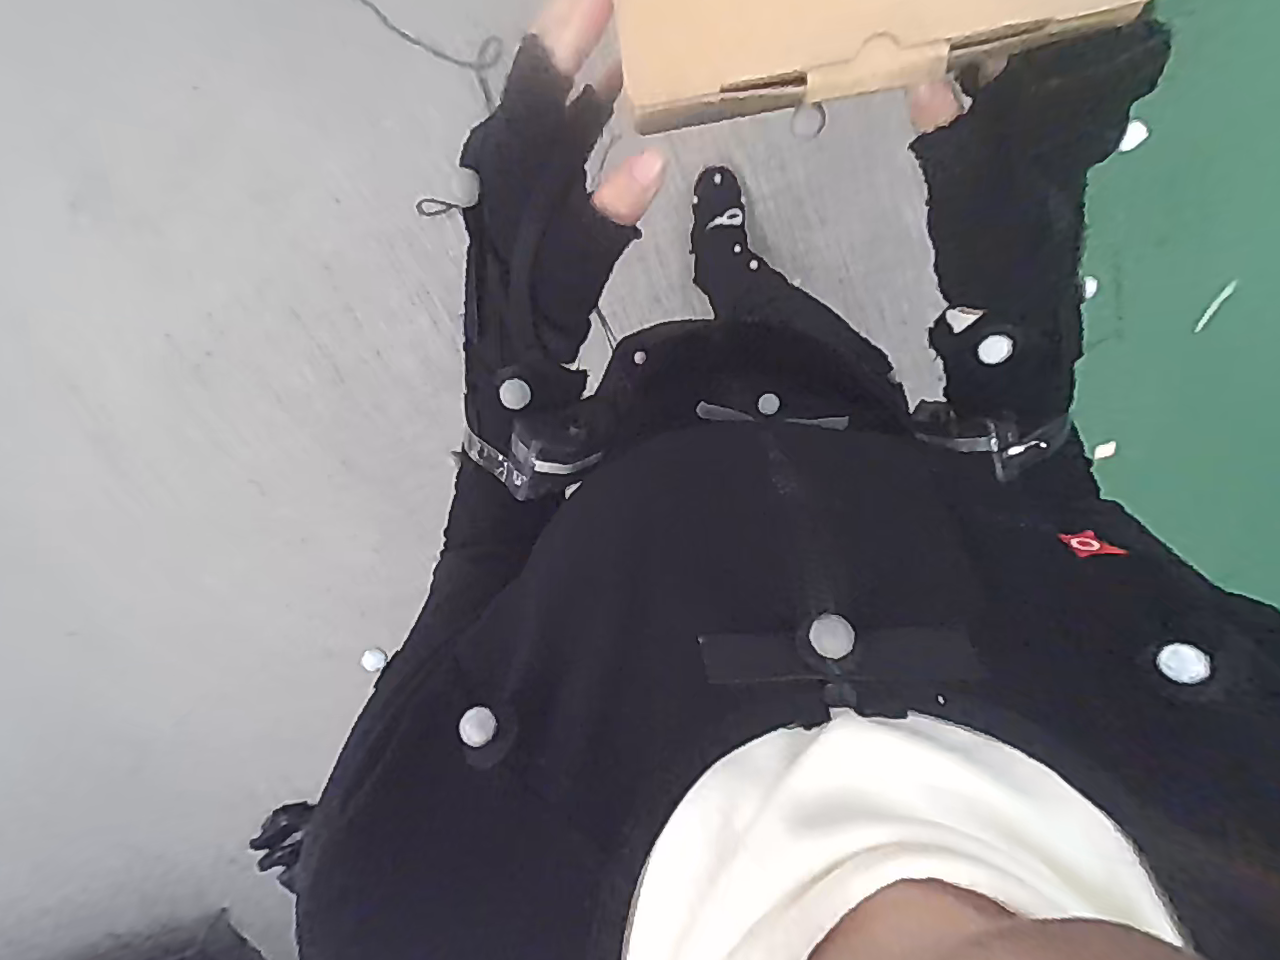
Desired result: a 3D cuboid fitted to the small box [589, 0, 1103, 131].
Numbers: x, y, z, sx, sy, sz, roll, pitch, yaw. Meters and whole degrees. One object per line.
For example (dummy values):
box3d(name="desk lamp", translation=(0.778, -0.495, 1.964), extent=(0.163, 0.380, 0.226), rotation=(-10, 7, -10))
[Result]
box3d(name="small box", translation=(0.059, -0.251, 0.210), extent=(0.168, 0.176, 0.179), rotation=(-8, 121, 6))

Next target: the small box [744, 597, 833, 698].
box3d(name="small box", translation=(0.393, 0.449, 1.465), extent=(0.179, 0.176, 0.168), rotation=(-25, 108, 11))
